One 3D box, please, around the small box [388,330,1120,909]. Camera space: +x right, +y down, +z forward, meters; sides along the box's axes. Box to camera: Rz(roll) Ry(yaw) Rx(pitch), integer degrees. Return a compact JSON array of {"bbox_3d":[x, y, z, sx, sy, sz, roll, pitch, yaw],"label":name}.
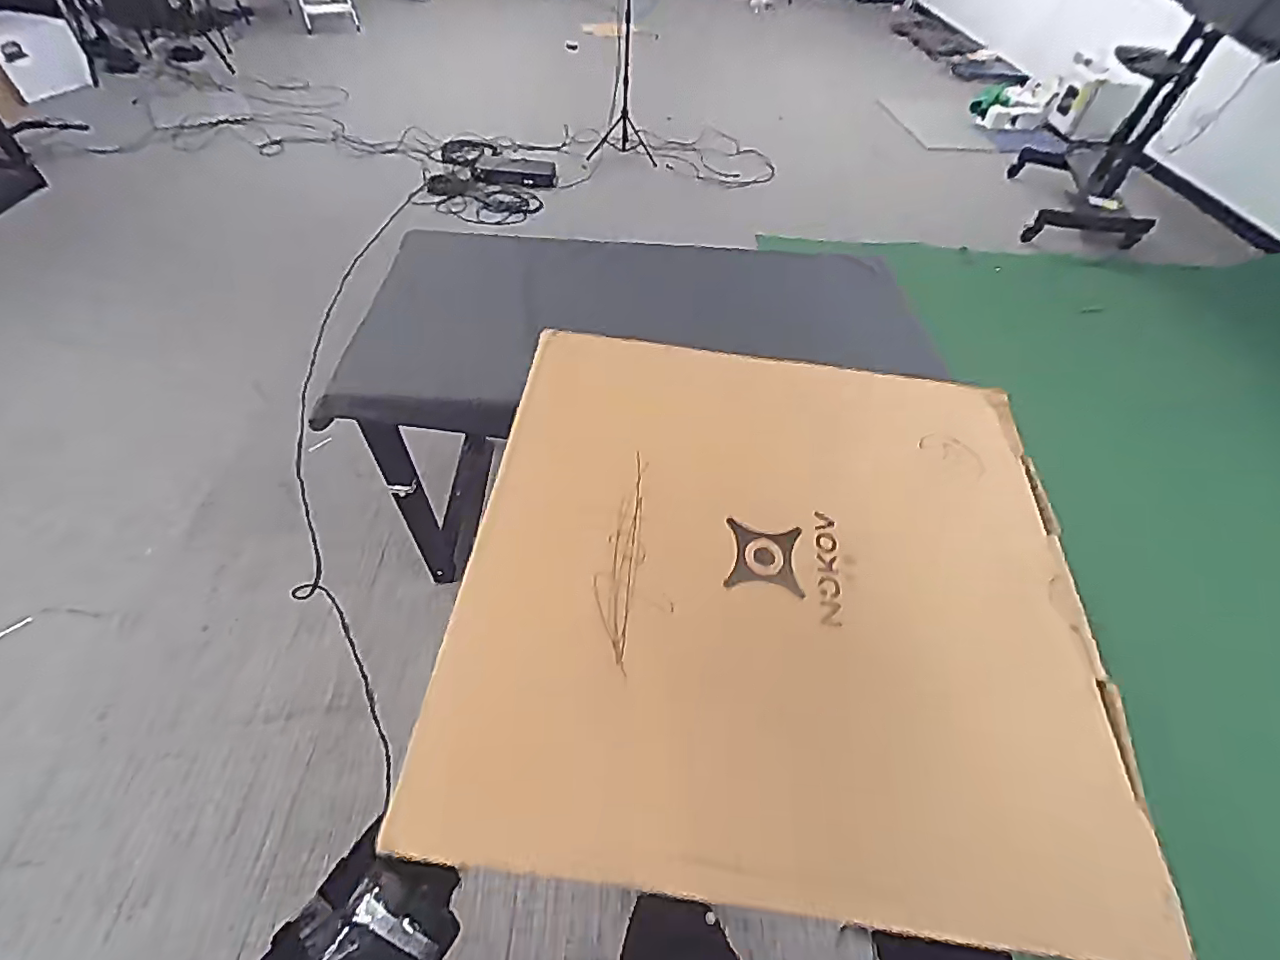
[{"bbox_3d":[0.032,0.063,0.236,0.179,0.176,0.168,7,56,2],"label":"small box"}]
